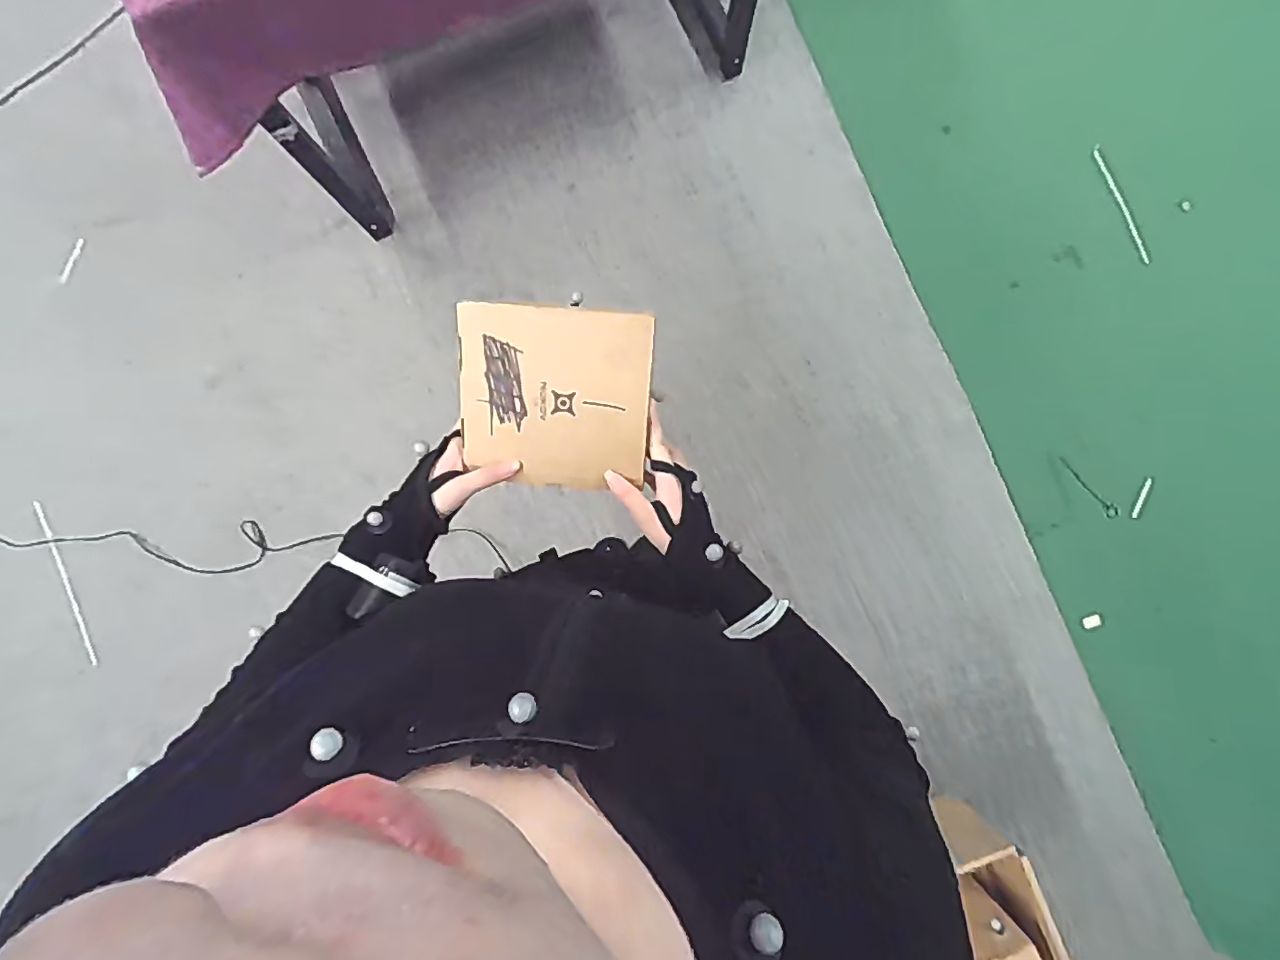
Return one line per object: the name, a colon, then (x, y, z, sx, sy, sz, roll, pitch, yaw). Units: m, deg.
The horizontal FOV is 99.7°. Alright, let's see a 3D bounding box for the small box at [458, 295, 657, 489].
small box: (-0.076, -0.101, 0.568, 0.179, 0.176, 0.168, 4, 109, -1)
